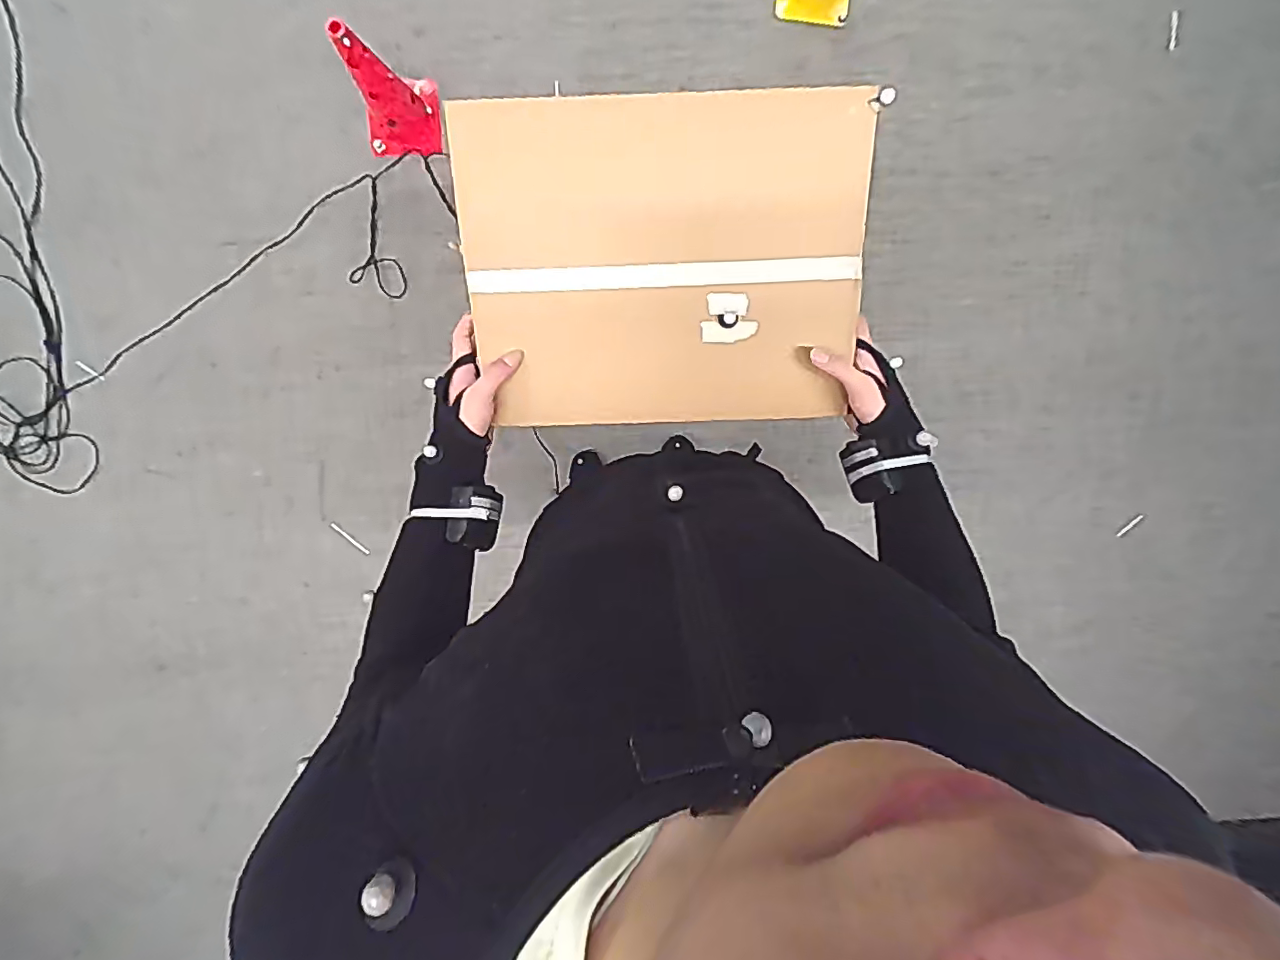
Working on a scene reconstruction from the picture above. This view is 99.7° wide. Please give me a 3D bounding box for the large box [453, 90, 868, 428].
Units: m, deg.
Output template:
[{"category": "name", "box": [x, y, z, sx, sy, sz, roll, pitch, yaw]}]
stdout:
[{"category": "large box", "box": [0.023, -0.264, 0.702, 0.408, 0.320, 0.320, -3, 111, 0]}]
